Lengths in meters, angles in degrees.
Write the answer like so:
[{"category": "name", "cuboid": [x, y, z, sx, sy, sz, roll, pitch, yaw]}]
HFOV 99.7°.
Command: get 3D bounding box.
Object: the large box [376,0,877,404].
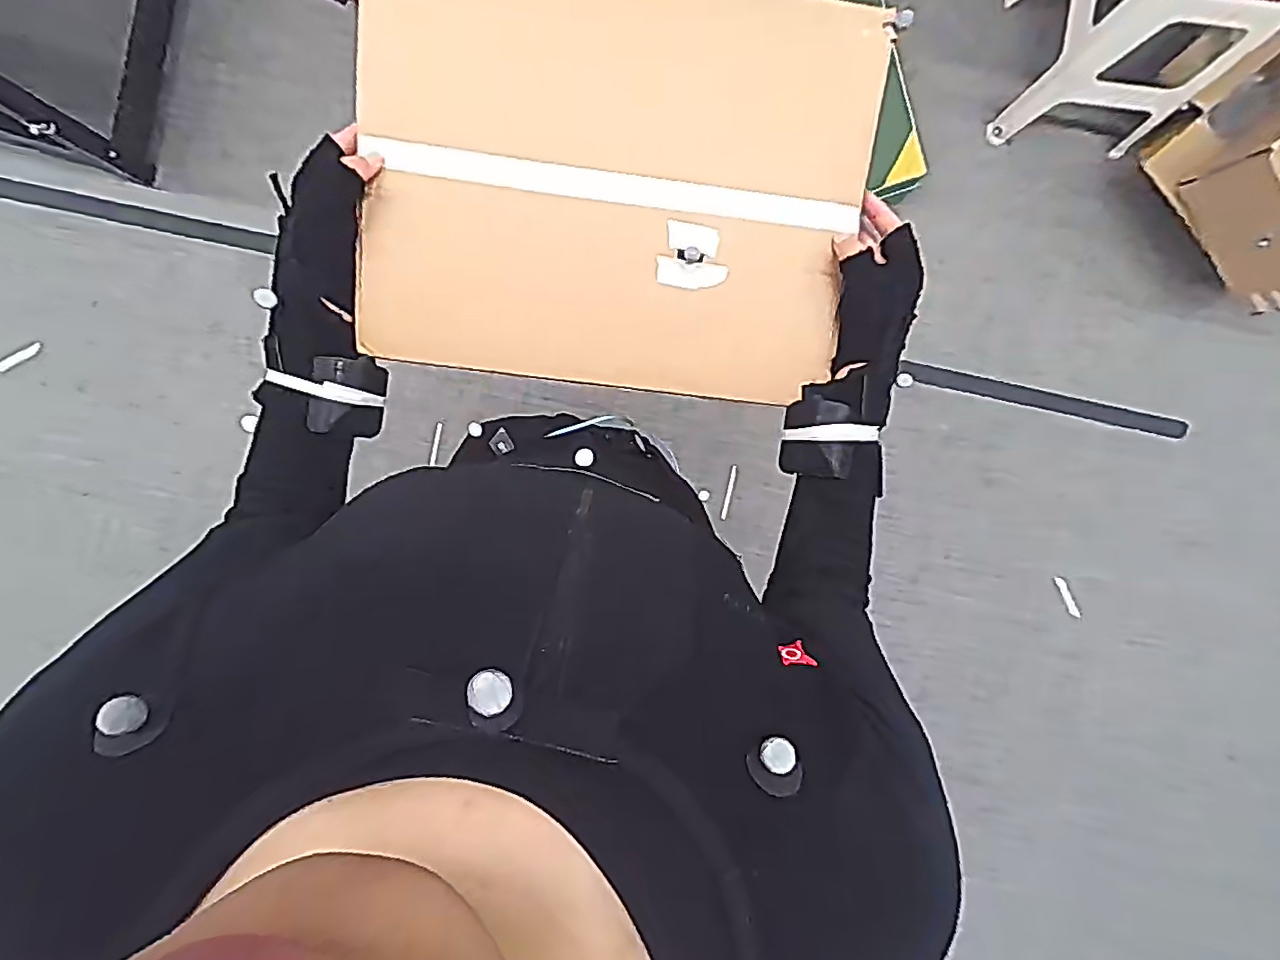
[{"category": "large box", "cuboid": [-0.028, -0.264, 0.599, 0.408, 0.320, 0.320, 6, 102, -5]}]
